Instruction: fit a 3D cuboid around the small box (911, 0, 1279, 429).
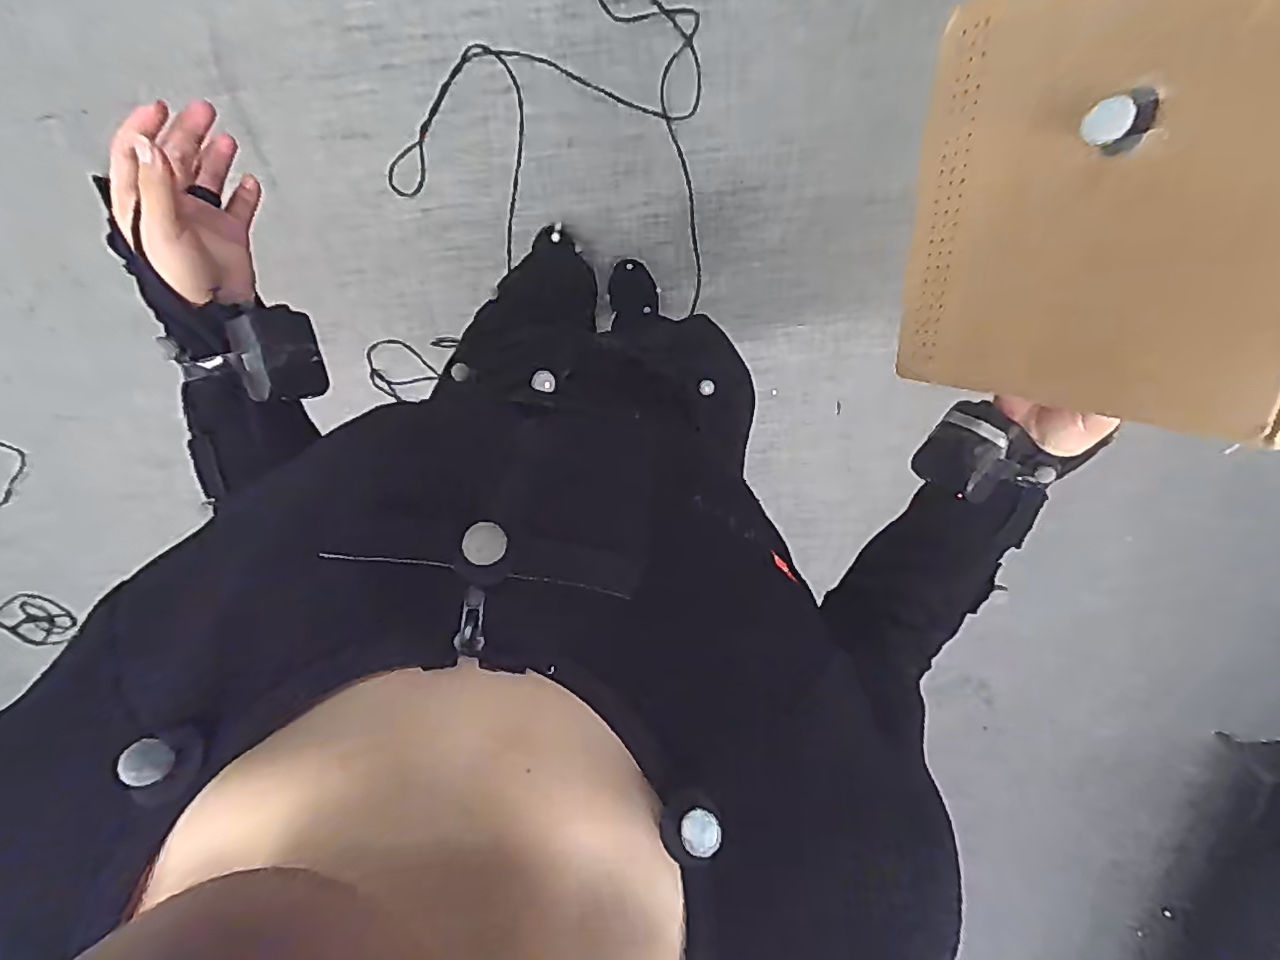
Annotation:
[{"bbox_3d":[0.249,-0.128,0.238,0.168,0.176,0.179,-6,108,-12],"label":"small box"}]
